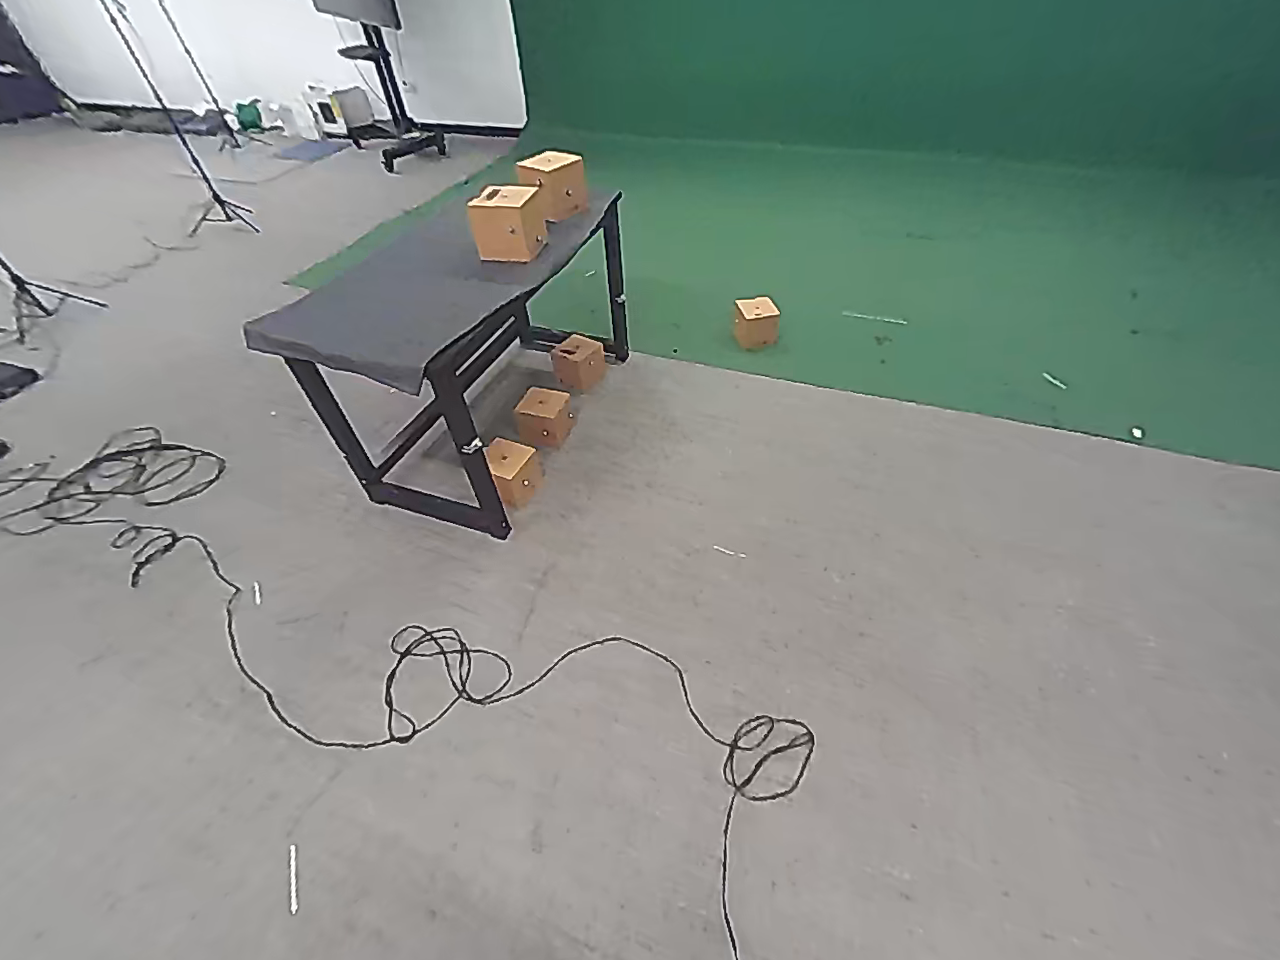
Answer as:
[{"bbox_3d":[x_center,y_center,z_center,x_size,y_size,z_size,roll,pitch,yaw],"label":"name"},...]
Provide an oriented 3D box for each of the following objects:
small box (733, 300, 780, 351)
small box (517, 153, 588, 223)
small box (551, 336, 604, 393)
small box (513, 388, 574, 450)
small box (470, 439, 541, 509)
[{"bbox_3d":[0.556,-0.743,2.604,0.168,0.176,0.179,-10,46,-6],"label":"small box"},{"bbox_3d":[-0.302,-1.031,1.911,0.179,0.176,0.168,30,55,31],"label":"small box"},{"bbox_3d":[-0.275,-0.517,2.431,0.168,0.176,0.179,25,51,23],"label":"small box"},{"bbox_3d":[-0.380,-0.242,2.178,0.179,0.176,0.168,12,48,15],"label":"small box"},{"bbox_3d":[-0.482,-0.018,1.975,0.179,0.176,0.168,17,50,19],"label":"small box"}]
